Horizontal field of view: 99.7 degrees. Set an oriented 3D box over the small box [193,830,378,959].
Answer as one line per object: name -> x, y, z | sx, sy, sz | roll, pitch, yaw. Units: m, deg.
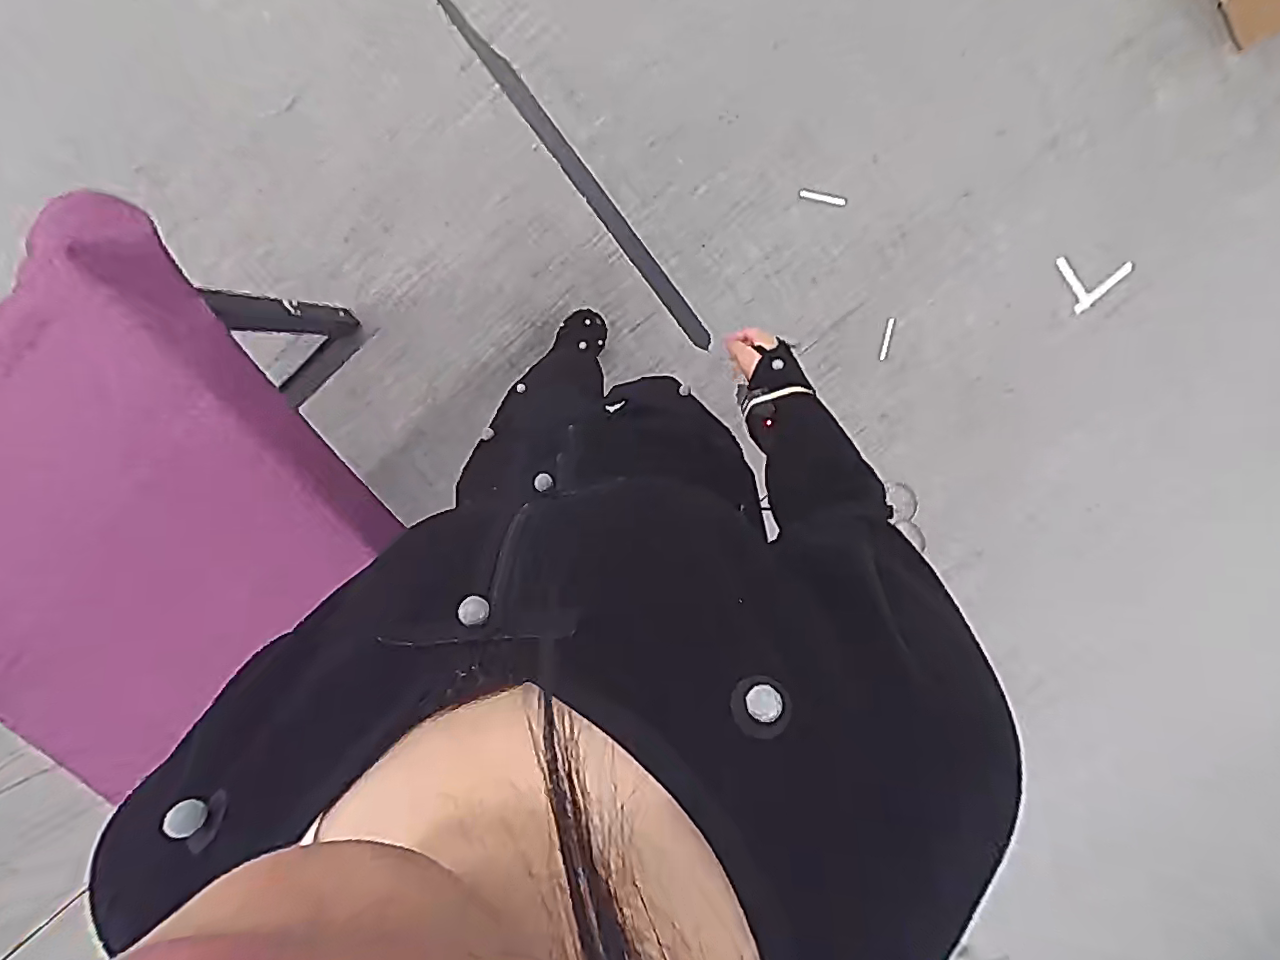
small box -> -0.525, 0.678, 0.807 | 0.179, 0.176, 0.168 | -40, 101, 5
